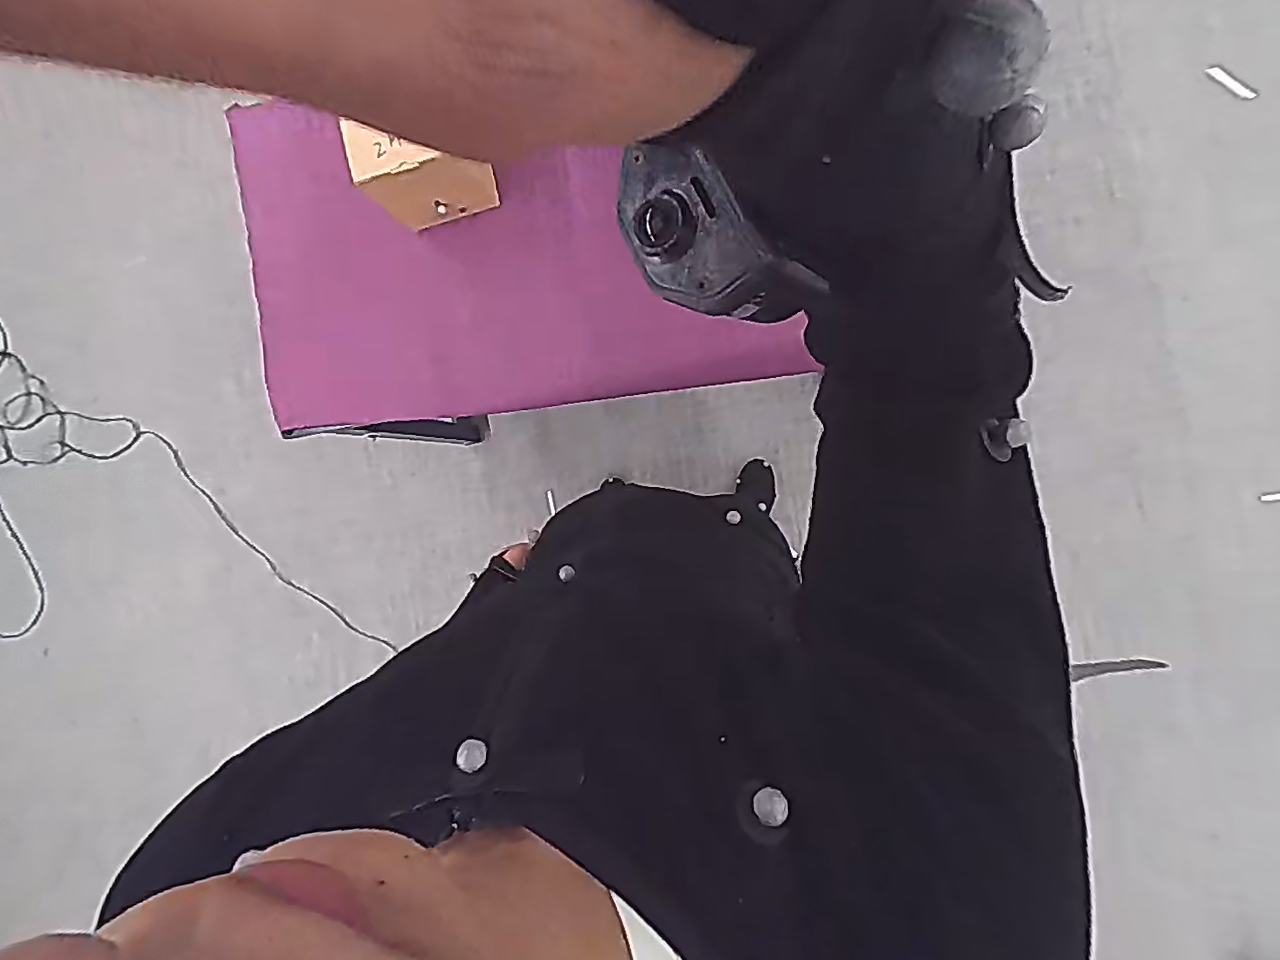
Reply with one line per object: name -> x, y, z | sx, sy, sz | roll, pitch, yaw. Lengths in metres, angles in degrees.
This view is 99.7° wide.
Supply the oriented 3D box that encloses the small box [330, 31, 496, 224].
small box -> -0.348, -0.544, 0.859 | 0.168, 0.176, 0.179 | -12, 90, 8
